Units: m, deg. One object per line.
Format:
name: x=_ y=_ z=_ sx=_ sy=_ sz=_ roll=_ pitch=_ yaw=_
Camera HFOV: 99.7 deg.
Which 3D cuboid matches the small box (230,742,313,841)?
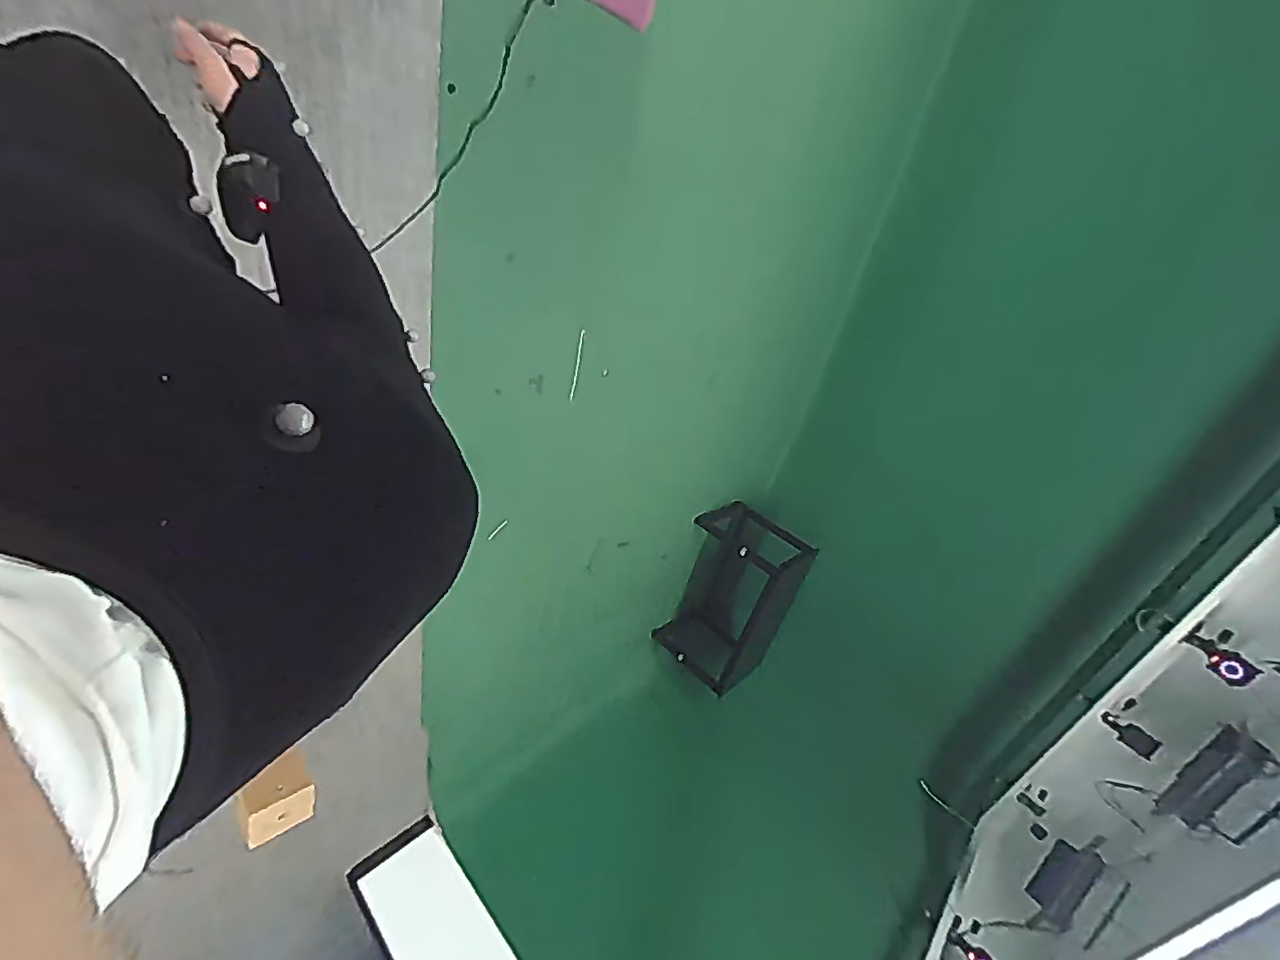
small box: x=-1.160 y=0.970 z=1.702 sx=0.179 sy=0.176 sz=0.168 roll=-11 pitch=127 yaw=-48
